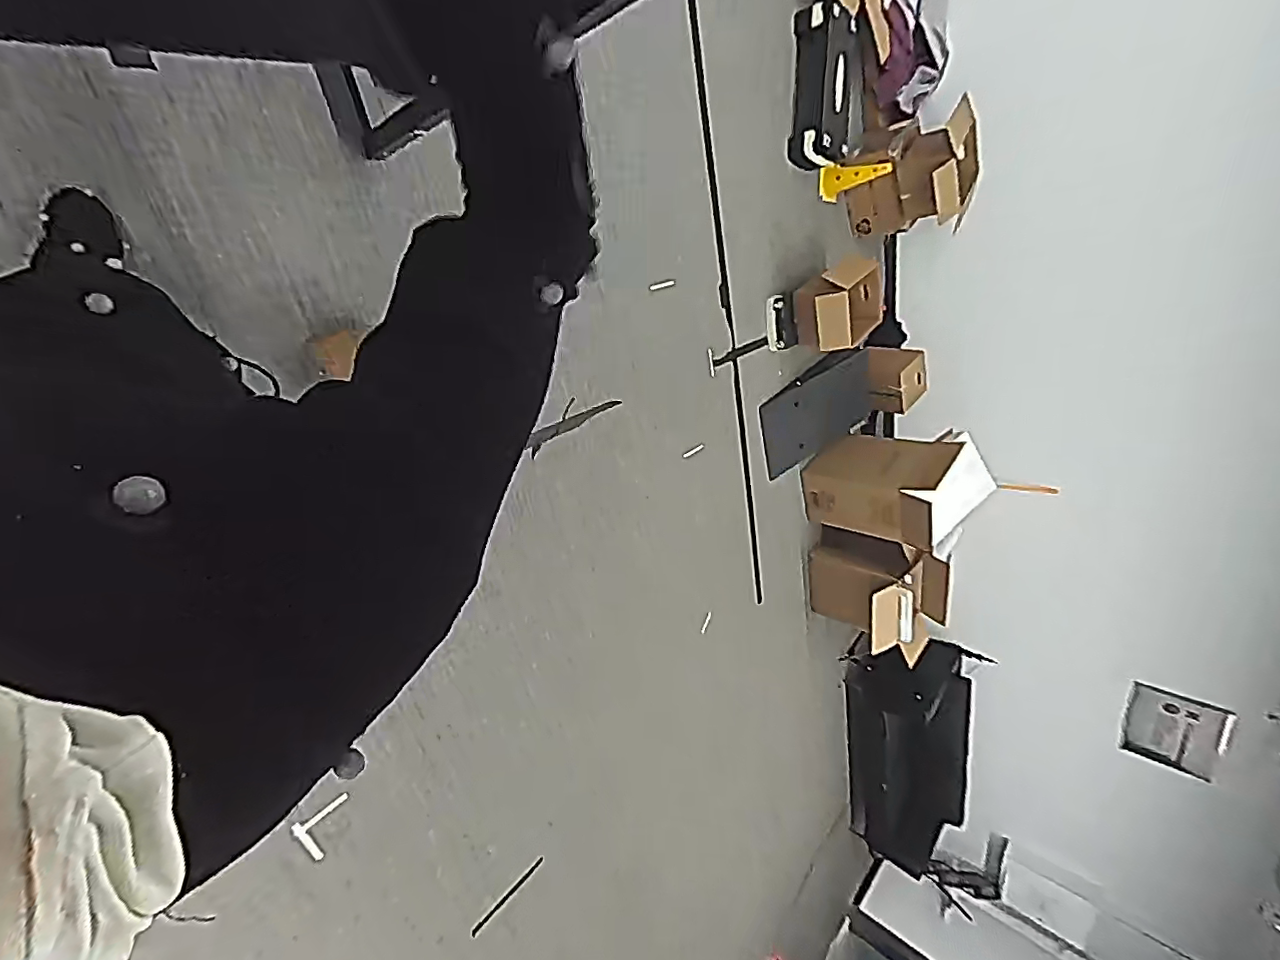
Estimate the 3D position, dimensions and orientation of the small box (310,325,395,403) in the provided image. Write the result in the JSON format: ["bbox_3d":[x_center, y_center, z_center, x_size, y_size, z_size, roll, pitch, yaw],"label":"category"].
[{"bbox_3d":[-0.750,-0.318,1.460,0.179,0.176,0.168,-32,121,-36],"label":"small box"}]
